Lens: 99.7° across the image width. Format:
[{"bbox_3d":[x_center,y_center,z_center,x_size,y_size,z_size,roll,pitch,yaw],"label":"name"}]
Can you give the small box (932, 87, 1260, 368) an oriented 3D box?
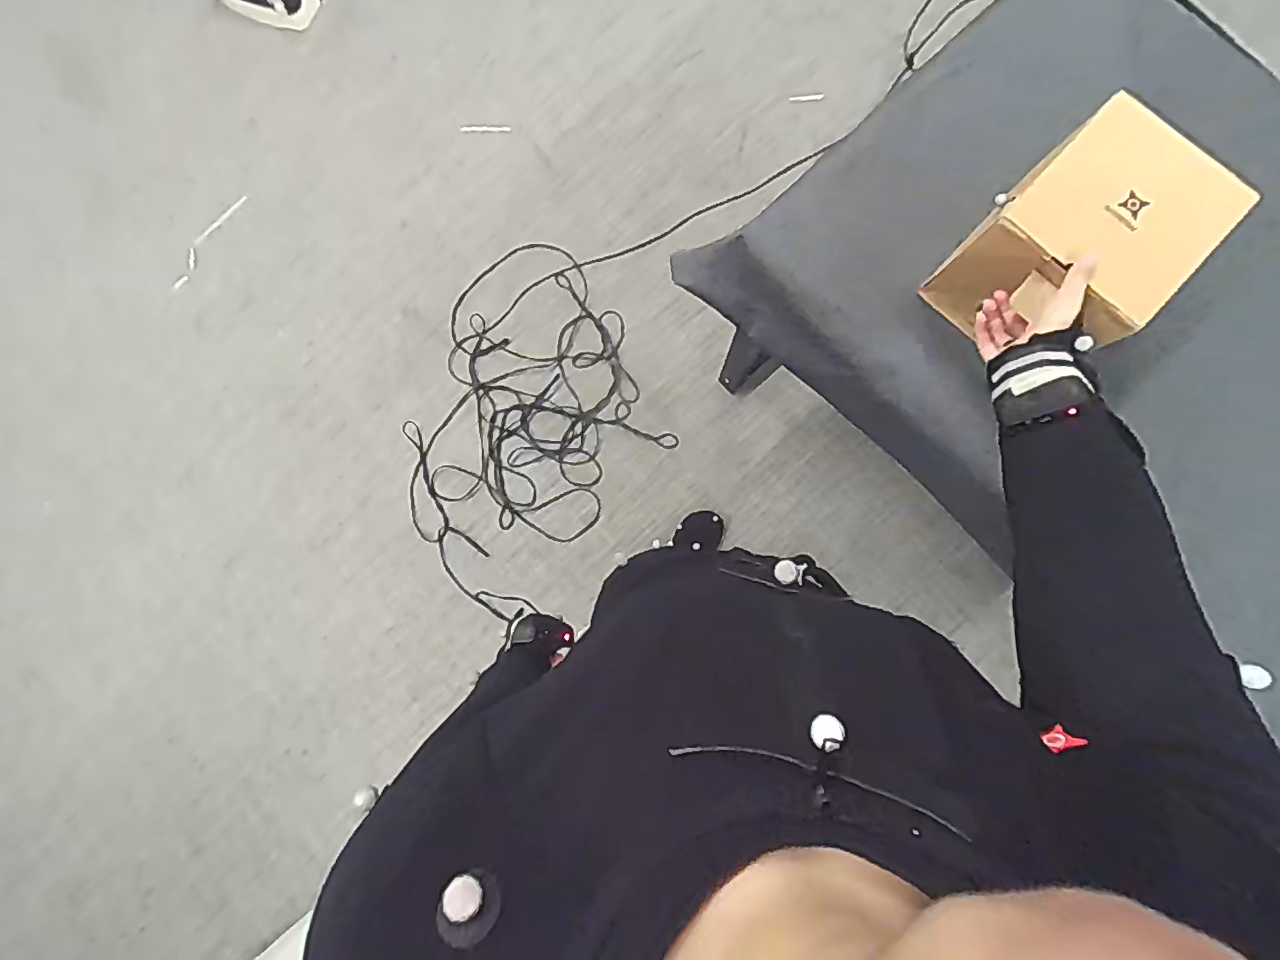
[{"bbox_3d":[0.463,-0.252,0.584,0.168,0.176,0.179,43,88,4],"label":"small box"}]
